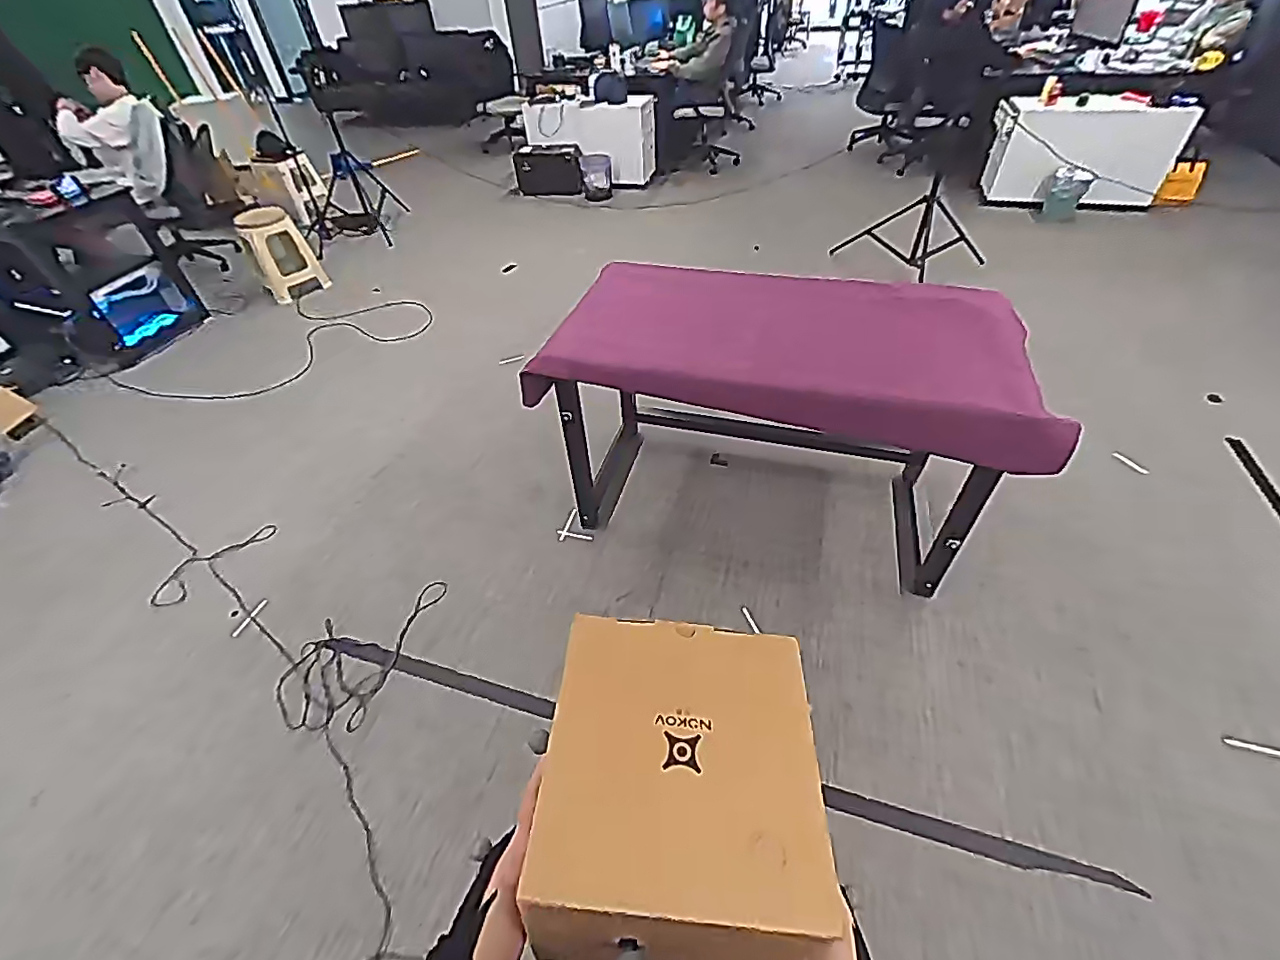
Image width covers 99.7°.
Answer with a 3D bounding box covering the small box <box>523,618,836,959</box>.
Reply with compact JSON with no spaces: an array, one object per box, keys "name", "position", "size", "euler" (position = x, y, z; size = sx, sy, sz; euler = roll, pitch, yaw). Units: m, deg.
[{"name":"small box","position":[0.023,0.228,0.390],"size":[0.168,0.176,0.179],"euler":[5,39,1]}]
